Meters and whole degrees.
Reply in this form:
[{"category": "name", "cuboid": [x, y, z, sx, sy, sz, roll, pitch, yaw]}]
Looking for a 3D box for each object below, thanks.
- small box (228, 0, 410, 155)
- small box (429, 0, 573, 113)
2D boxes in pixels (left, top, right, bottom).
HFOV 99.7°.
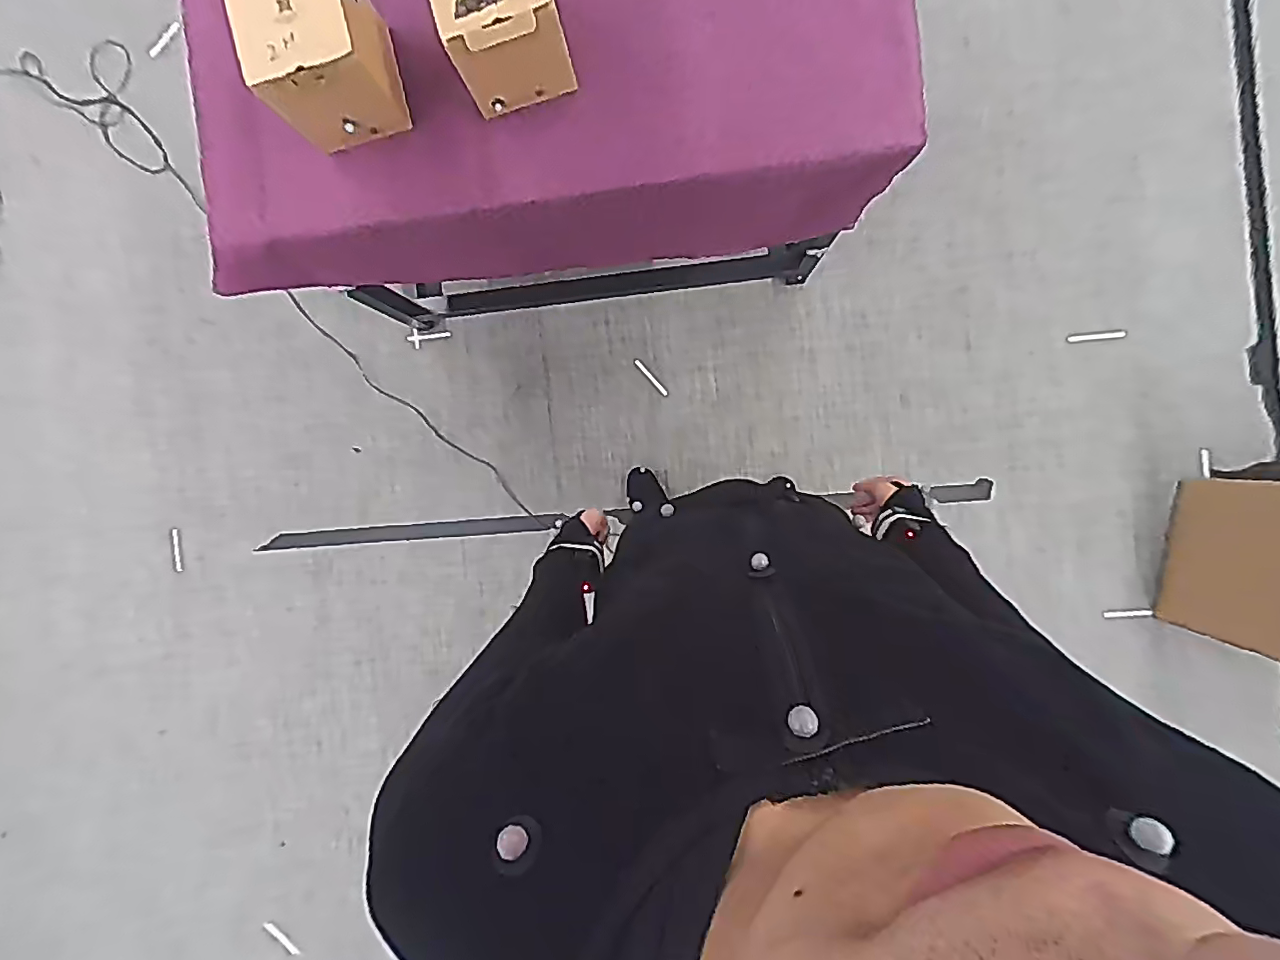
[{"category": "small box", "cuboid": [-0.489, -0.654, 0.842, 0.168, 0.176, 0.179, -14, 91, 5]}, {"category": "small box", "cuboid": [-0.211, -0.702, 0.822, 0.168, 0.176, 0.179, -15, 90, 4]}]
